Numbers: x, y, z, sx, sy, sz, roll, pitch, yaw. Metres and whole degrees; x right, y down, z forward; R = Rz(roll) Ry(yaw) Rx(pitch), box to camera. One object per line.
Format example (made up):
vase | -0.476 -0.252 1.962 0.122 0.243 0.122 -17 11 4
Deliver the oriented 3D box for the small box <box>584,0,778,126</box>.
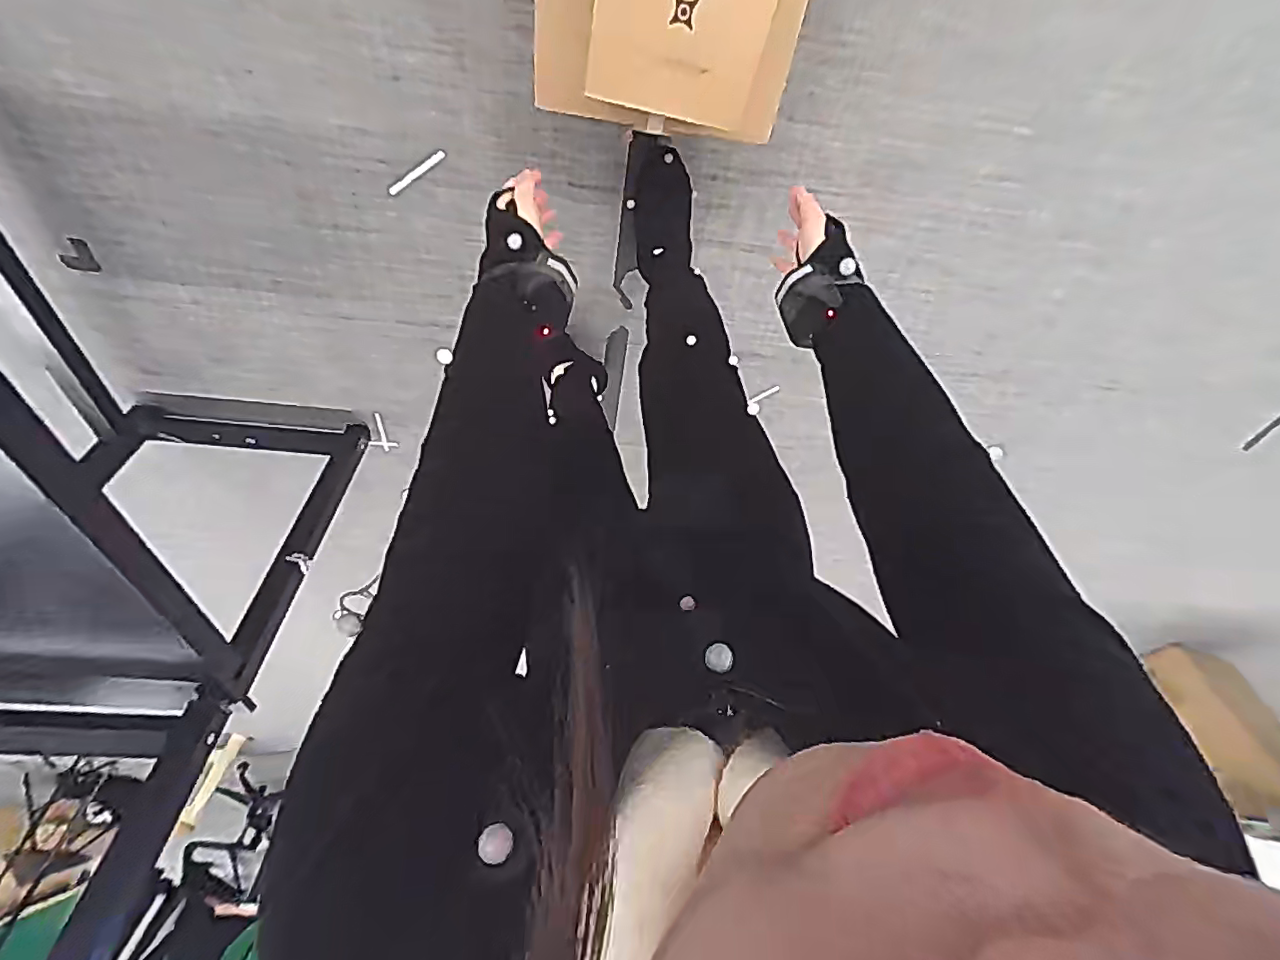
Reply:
small box | 0.041 -0.491 0.537 0.168 0.176 0.179 9 136 -9

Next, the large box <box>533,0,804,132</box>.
large box | 0.042 -0.711 0.663 0.320 0.320 0.408 4 135 -7
